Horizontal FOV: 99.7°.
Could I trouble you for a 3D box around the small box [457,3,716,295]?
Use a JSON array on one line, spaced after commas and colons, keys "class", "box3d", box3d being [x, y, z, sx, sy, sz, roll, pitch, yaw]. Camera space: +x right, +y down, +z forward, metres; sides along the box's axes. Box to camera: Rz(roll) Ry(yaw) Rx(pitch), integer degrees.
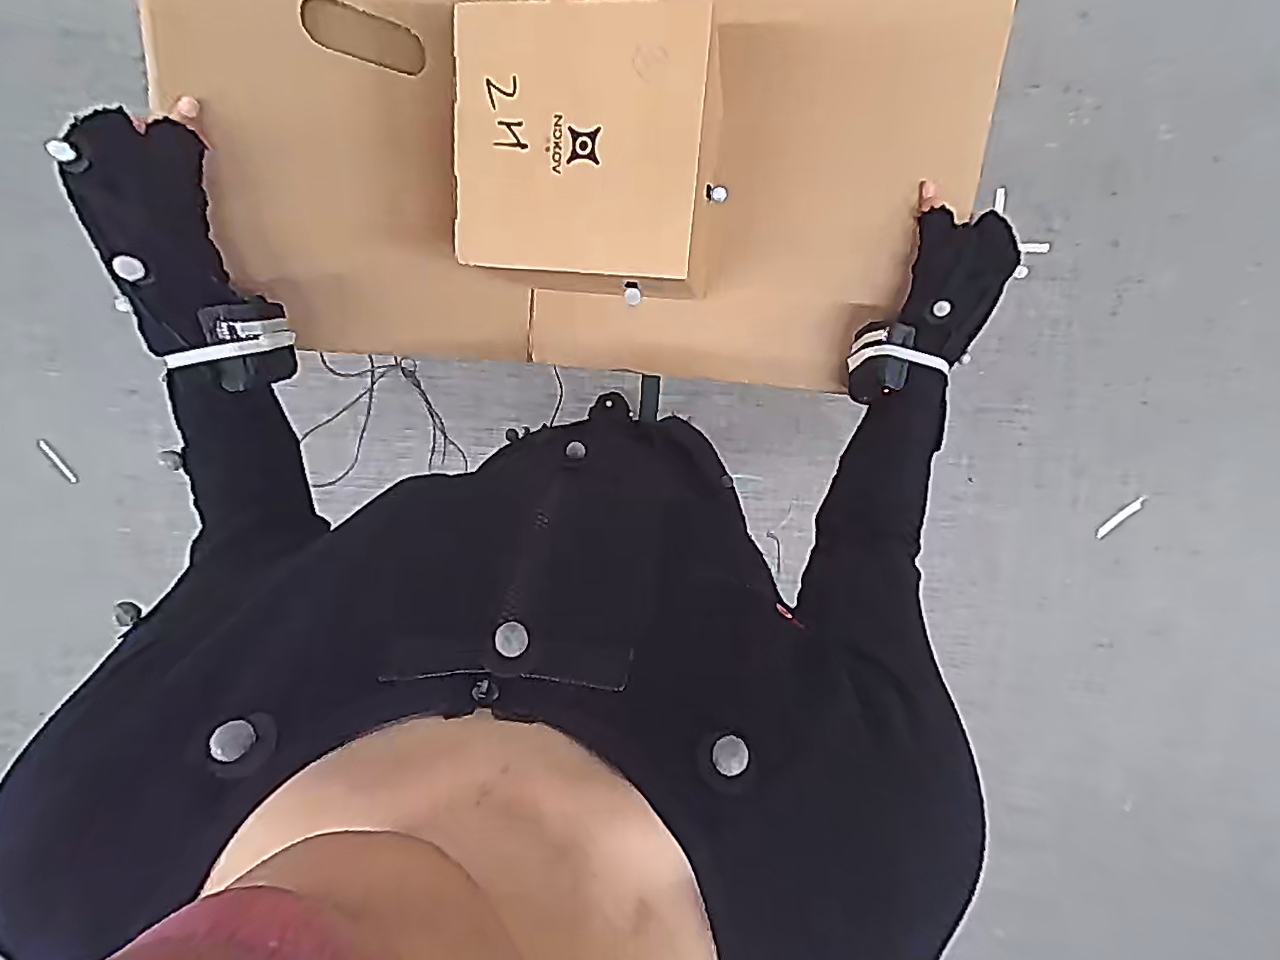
[{"class": "small box", "box3d": [-0.033, -0.253, 0.453, 0.179, 0.176, 0.168, 7, 104, 9]}]
